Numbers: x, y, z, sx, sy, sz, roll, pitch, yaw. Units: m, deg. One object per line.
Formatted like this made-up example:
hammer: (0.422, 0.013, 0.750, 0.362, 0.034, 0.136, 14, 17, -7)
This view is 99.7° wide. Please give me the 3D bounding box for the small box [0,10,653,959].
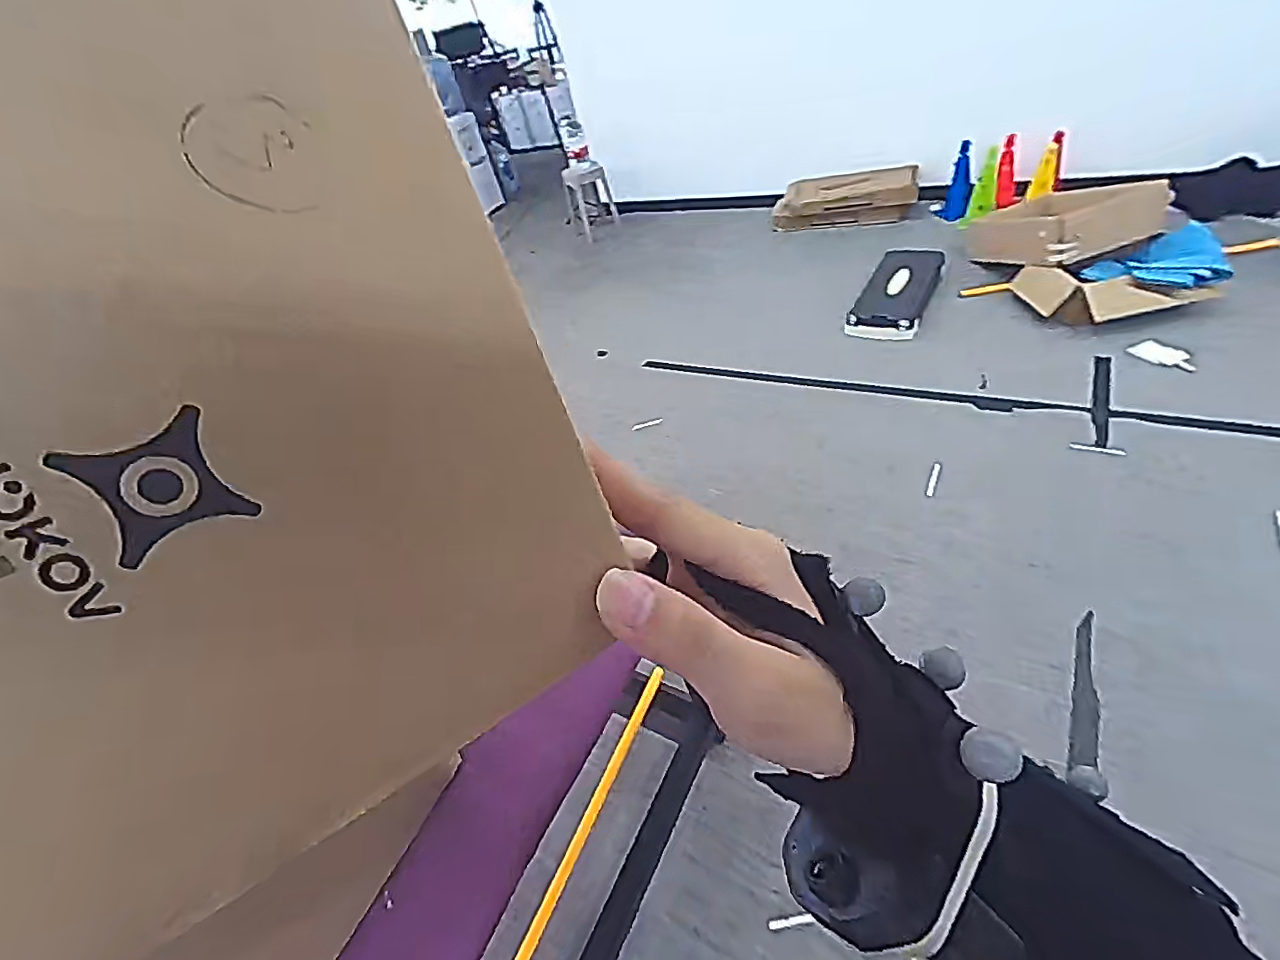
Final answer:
small box: (-0.129, -0.001, 0.178, 0.179, 0.168, 0.176, -28, 17, -22)
